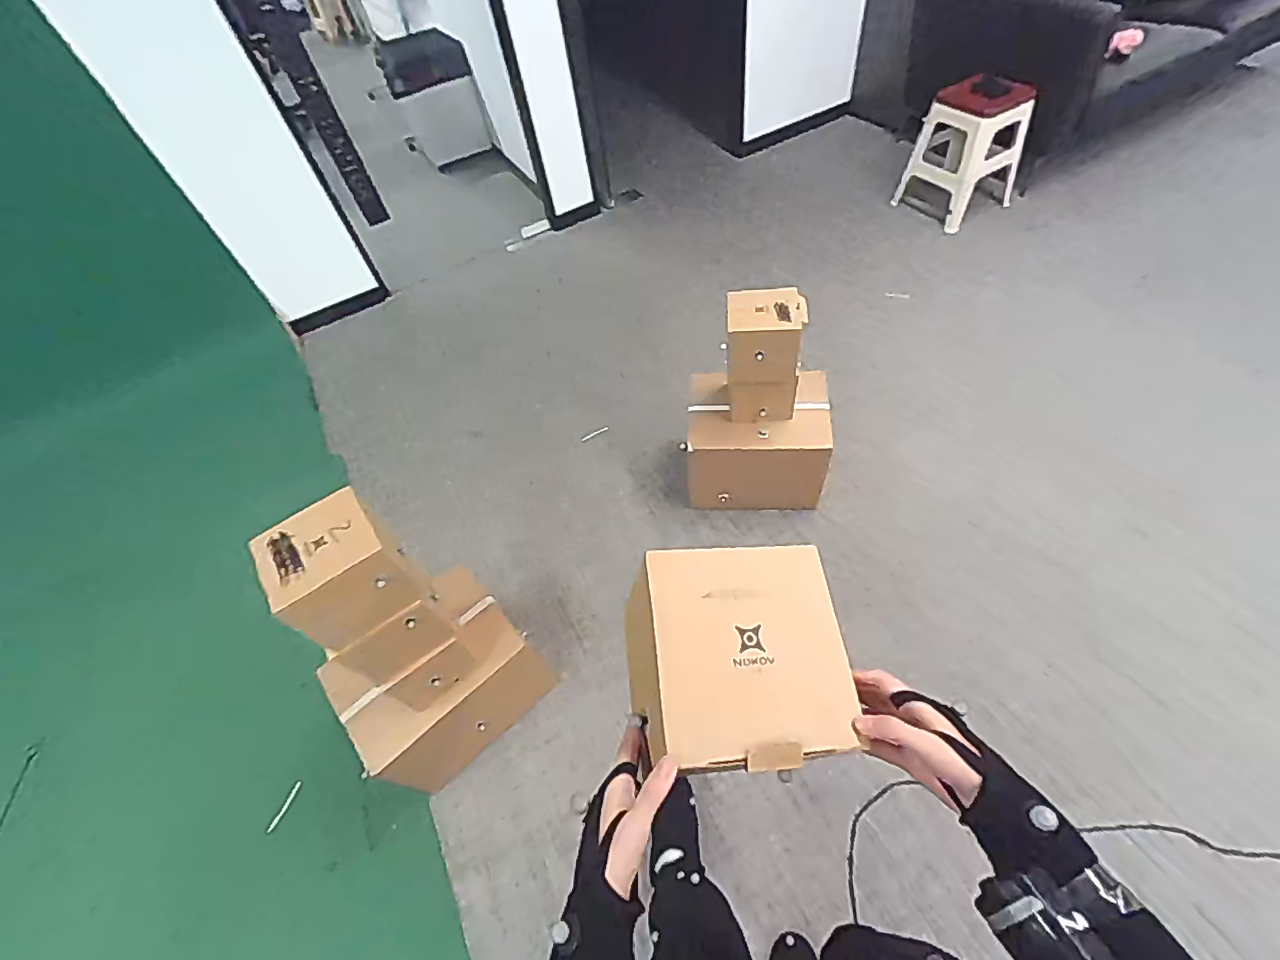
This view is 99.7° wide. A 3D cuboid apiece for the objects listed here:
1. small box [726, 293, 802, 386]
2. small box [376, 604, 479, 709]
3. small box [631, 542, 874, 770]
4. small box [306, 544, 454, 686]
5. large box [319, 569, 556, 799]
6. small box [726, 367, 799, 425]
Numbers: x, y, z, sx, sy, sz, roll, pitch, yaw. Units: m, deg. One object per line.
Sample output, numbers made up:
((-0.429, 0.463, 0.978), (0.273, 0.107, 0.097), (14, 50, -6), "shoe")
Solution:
((0.312, -0.357, 1.390), (0.179, 0.176, 0.168), (0, 52, 10), "small box")
((-0.473, 0.367, 1.163), (0.168, 0.176, 0.179), (-34, 56, -17), "small box")
((0.085, 0.172, 0.515), (0.168, 0.176, 0.179), (0, 58, -9), "small box")
((-0.493, 0.264, 1.039), (0.179, 0.176, 0.168), (-33, 56, -17), "small box")
((-0.485, 0.512, 1.364), (0.408, 0.320, 0.320), (-40, 57, -19), "large box")
((0.339, -0.270, 1.528), (0.179, 0.176, 0.168), (-2, 52, 5), "small box")
